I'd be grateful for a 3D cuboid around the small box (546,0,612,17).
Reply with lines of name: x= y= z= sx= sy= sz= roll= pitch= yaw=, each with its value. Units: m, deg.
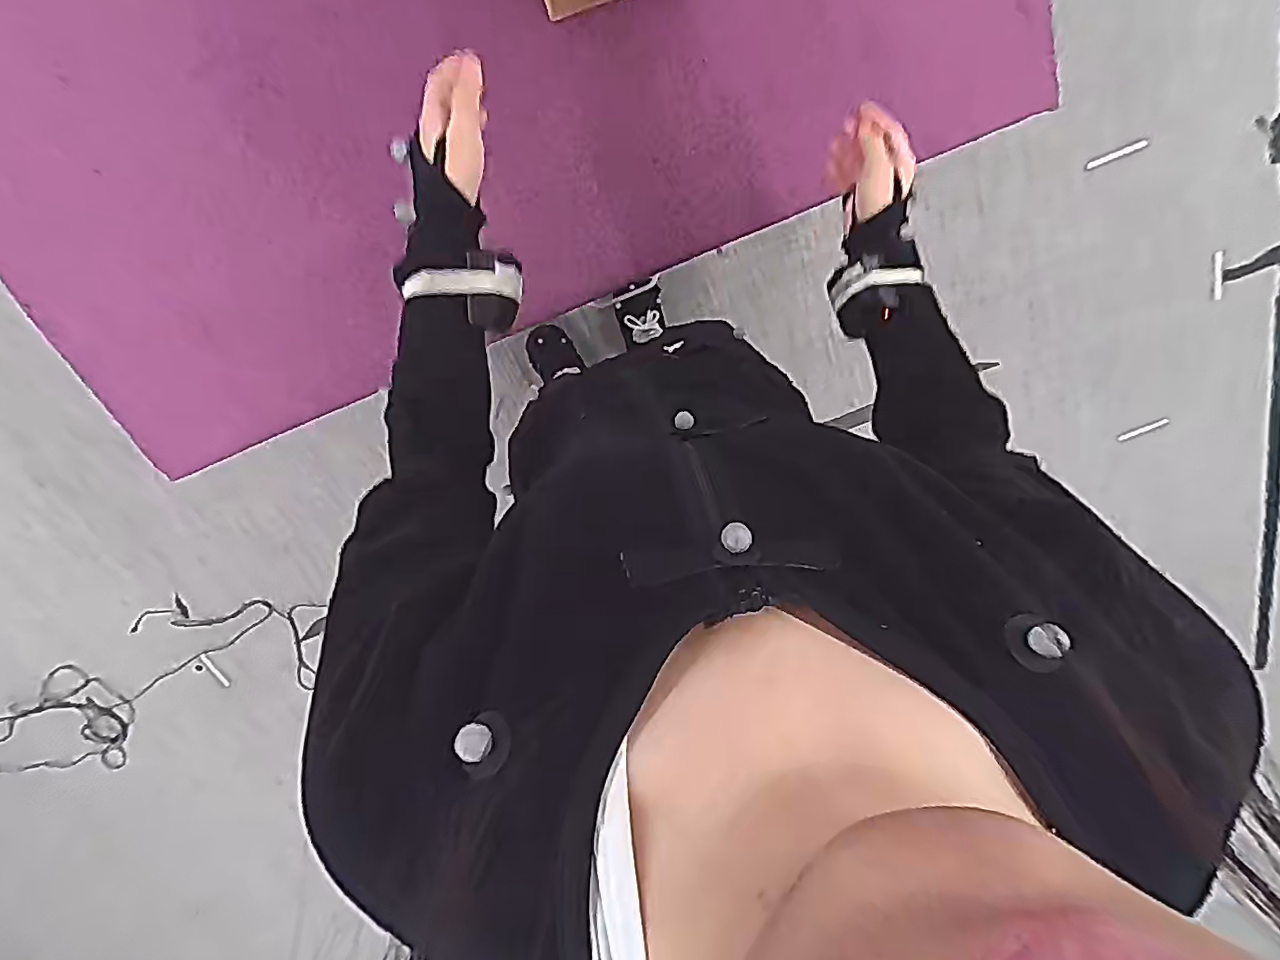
small box: x=-0.038 y=-0.560 z=0.467 sx=0.168 sy=0.176 sz=0.179 roll=-18 pitch=112 yaw=2
